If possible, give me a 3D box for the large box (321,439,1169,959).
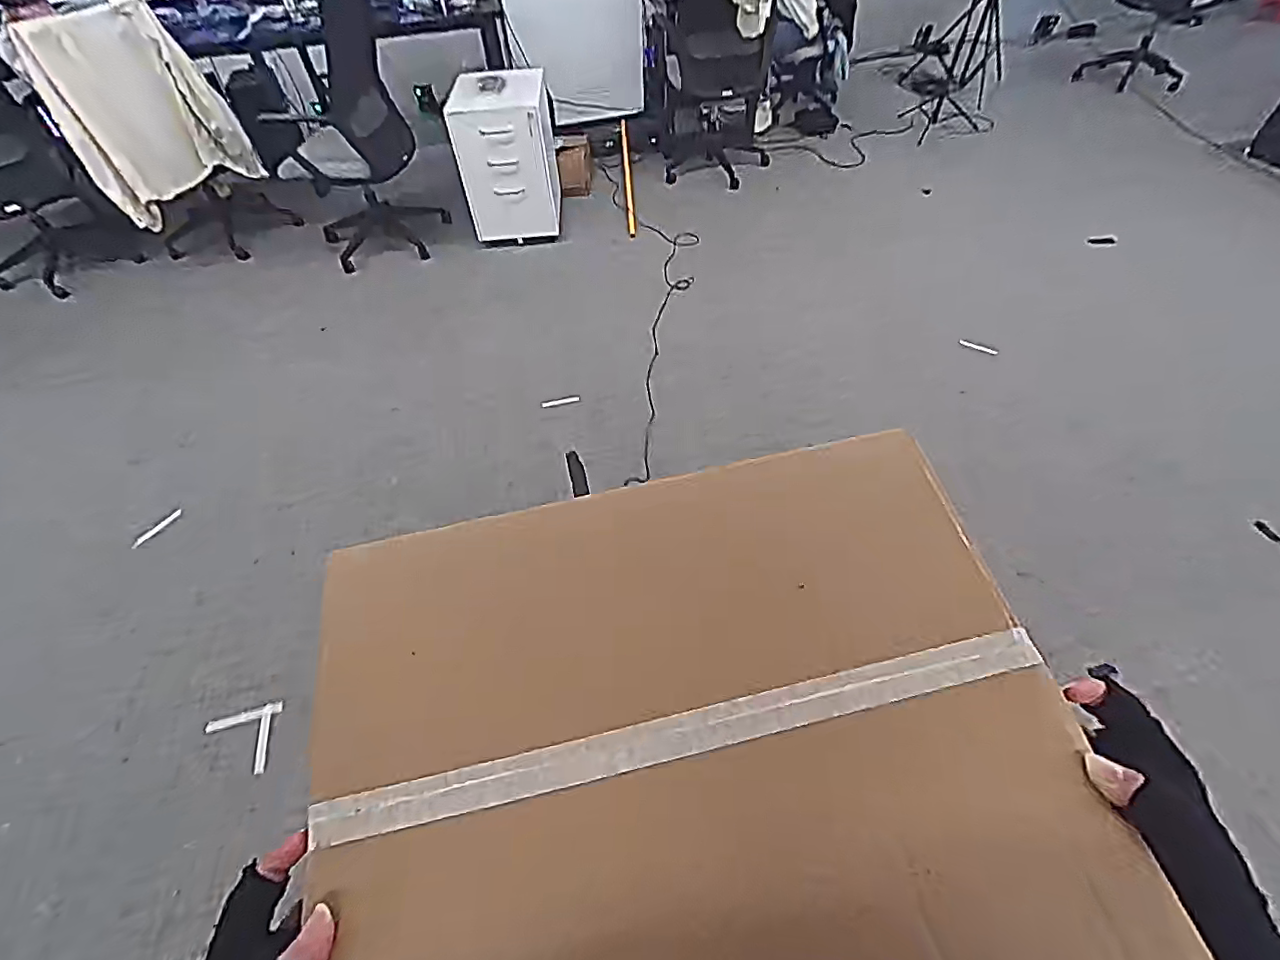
[{"bbox_3d":[0.033,0.212,0.438,0.408,0.320,0.320,-13,61,-3],"label":"large box"}]
